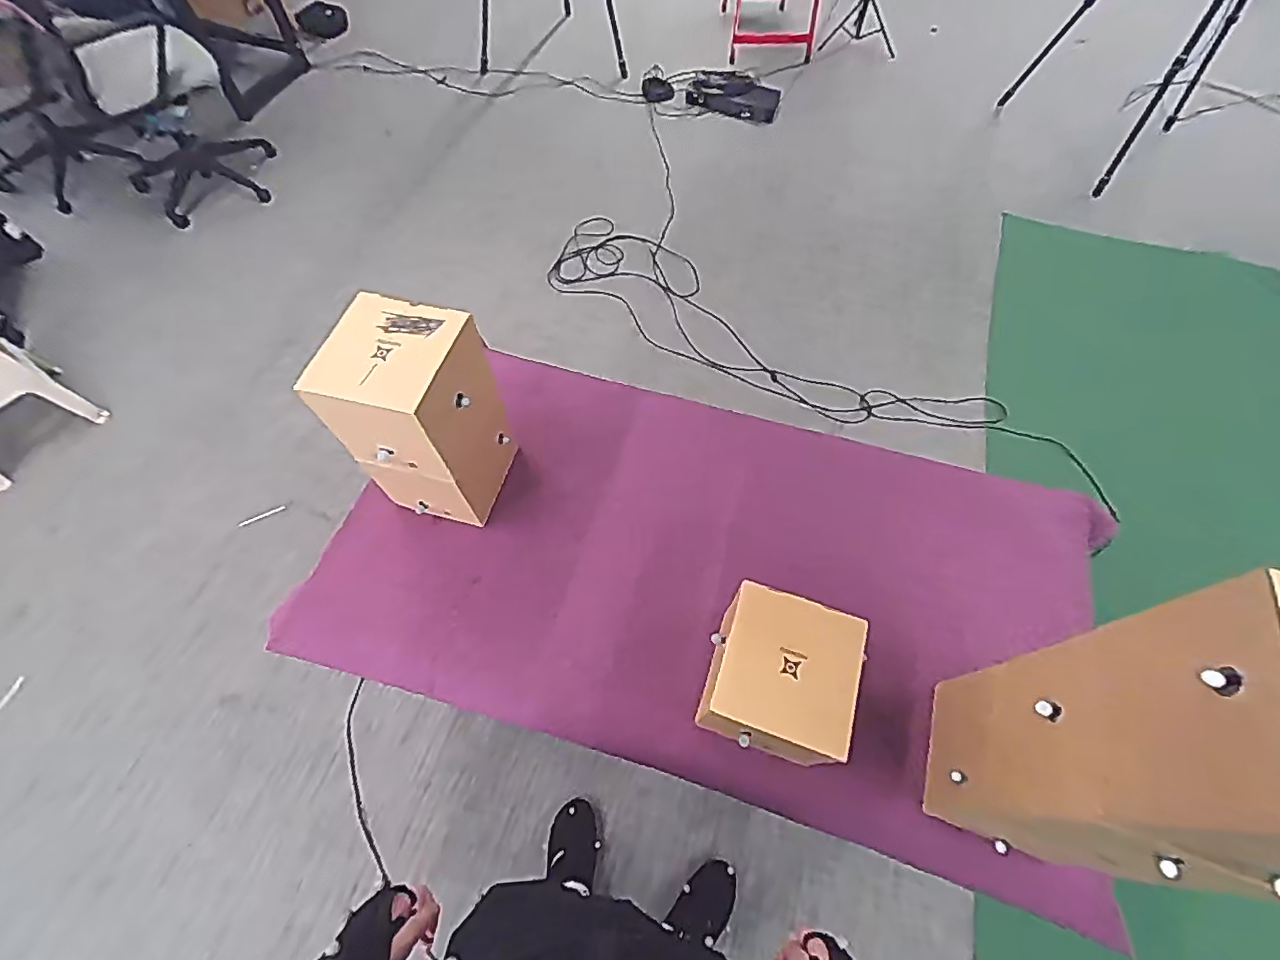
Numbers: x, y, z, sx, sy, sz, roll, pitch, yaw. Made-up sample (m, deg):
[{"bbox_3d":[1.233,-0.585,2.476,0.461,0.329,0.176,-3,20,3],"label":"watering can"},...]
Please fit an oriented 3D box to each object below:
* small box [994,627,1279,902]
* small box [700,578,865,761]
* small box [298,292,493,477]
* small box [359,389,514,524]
[{"bbox_3d":[0.485,0.276,0.538,0.168,0.176,0.179,18,62,11],"label":"small box"},{"bbox_3d":[0.185,0.264,0.737,0.168,0.176,0.179,18,61,10],"label":"small box"},{"bbox_3d":[-0.324,-0.131,0.765,0.168,0.176,0.179,13,63,8],"label":"small box"},{"bbox_3d":[-0.324,-0.051,0.909,0.168,0.176,0.179,13,63,8],"label":"small box"}]
